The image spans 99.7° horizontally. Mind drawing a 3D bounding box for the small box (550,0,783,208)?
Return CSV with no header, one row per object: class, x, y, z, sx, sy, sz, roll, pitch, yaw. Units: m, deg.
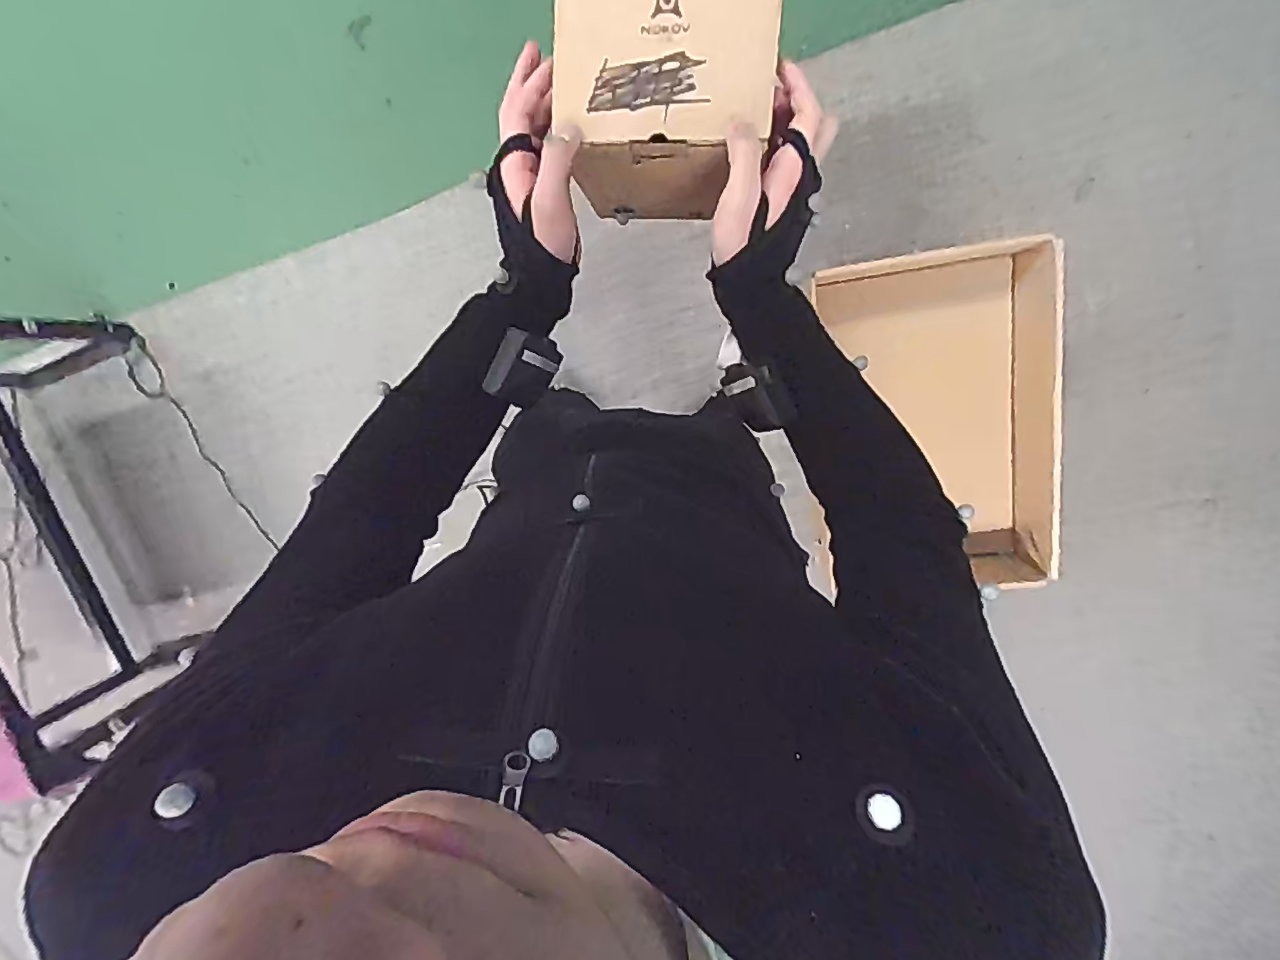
small box,0.030,-0.346,0.456,0.168,0.176,0.179,4,98,8
